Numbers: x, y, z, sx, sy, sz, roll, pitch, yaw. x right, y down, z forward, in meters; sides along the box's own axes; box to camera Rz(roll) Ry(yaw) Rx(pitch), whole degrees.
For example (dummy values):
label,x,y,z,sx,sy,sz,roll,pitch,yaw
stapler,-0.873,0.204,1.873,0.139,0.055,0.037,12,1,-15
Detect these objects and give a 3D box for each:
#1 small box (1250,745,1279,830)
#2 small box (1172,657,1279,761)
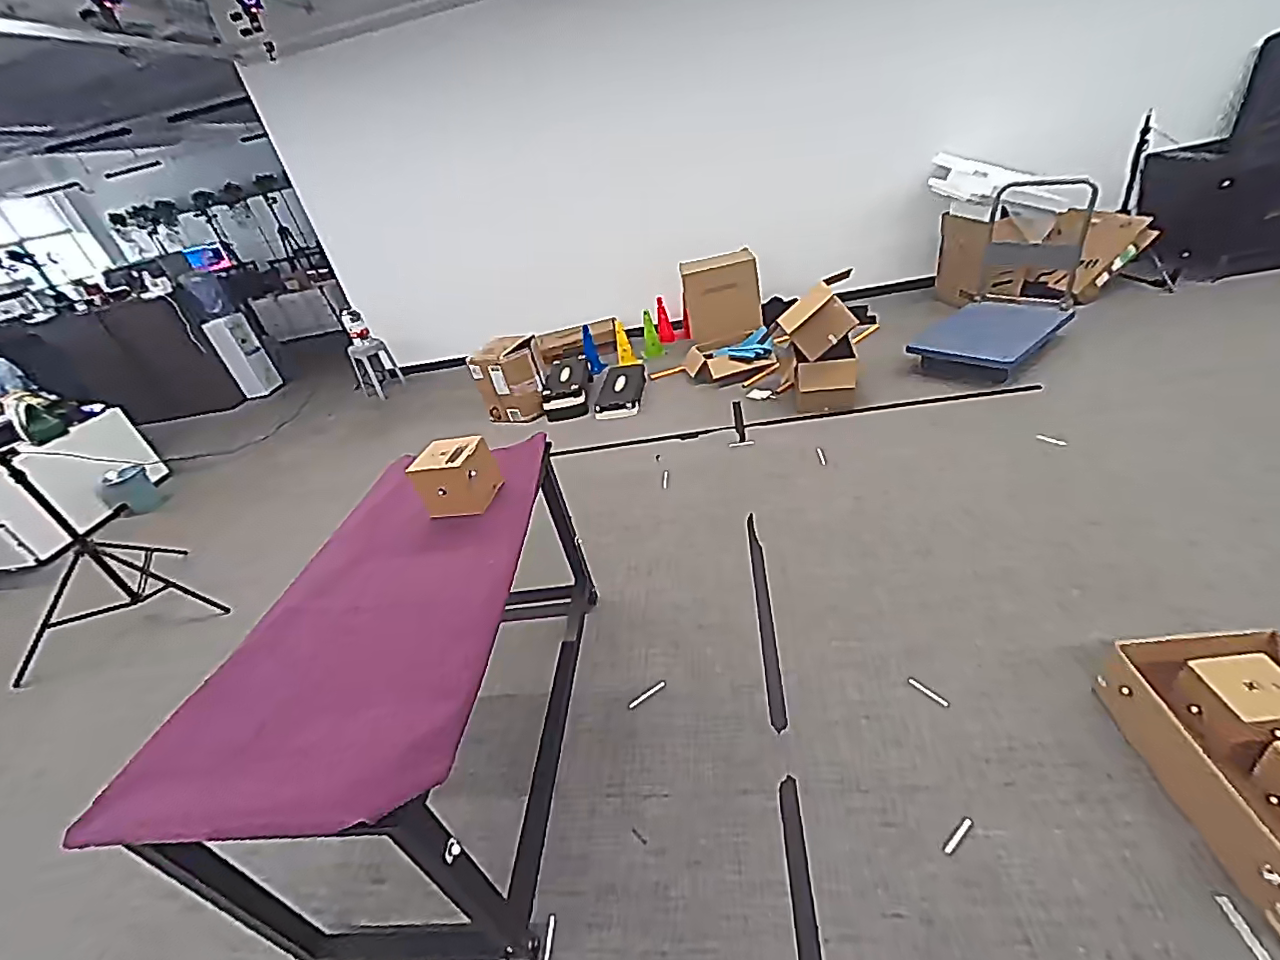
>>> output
label,x,y,z,sx,sy,sz,roll,pitch,yaw
small box,1.454,0.674,1.120,0.179,0.176,0.168,-5,33,13
small box,1.446,0.554,1.302,0.179,0.176,0.168,-9,34,7
